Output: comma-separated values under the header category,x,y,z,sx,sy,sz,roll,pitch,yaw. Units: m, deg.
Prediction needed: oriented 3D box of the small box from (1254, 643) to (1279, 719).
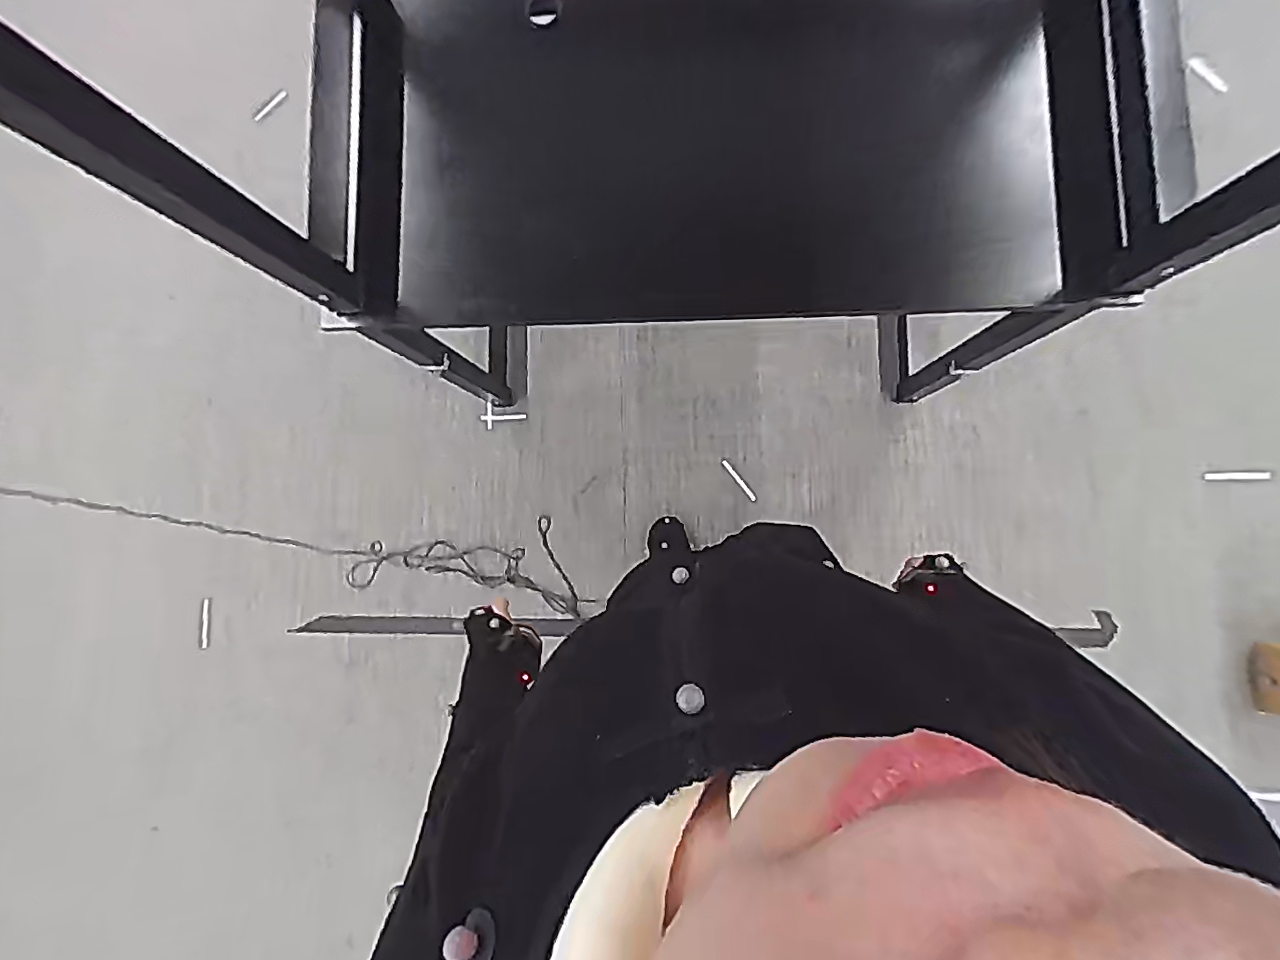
category,x,y,z,sx,sy,sz,roll,pitch,yaw
small box,1.616,0.494,1.269,0.168,0.176,0.179,-1,88,5
